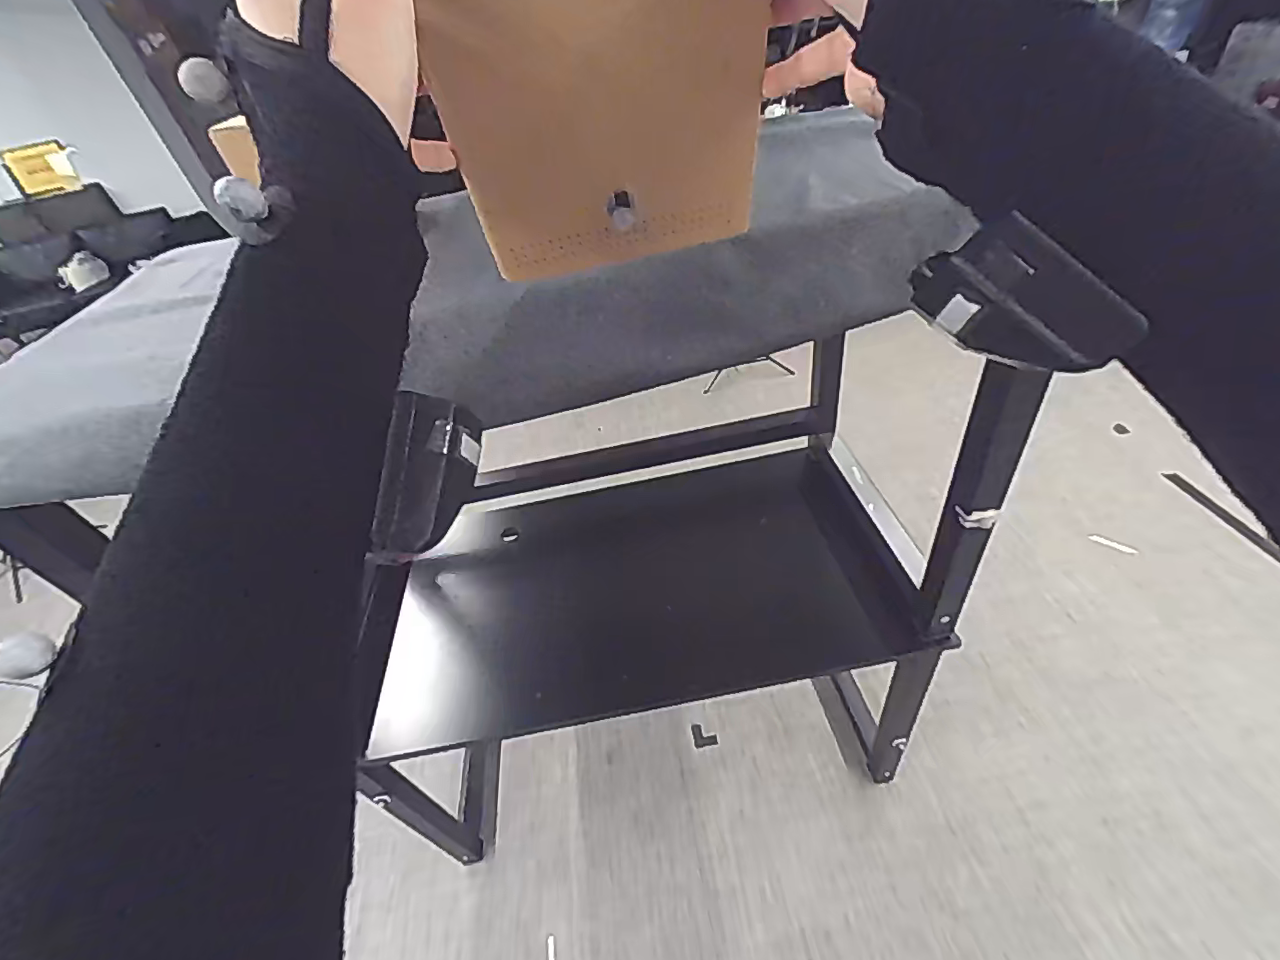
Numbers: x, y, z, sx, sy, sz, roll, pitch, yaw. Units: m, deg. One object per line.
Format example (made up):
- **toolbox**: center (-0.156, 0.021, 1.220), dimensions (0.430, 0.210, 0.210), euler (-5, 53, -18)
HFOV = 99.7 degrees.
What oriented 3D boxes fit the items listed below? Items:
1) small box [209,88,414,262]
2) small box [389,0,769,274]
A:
- **small box**: center (-0.438, -0.423, 0.759), dimensions (0.168, 0.176, 0.179), euler (-14, 41, -3)
- **small box**: center (-0.034, -0.259, 0.336), dimensions (0.179, 0.176, 0.168), euler (-12, 62, -1)
